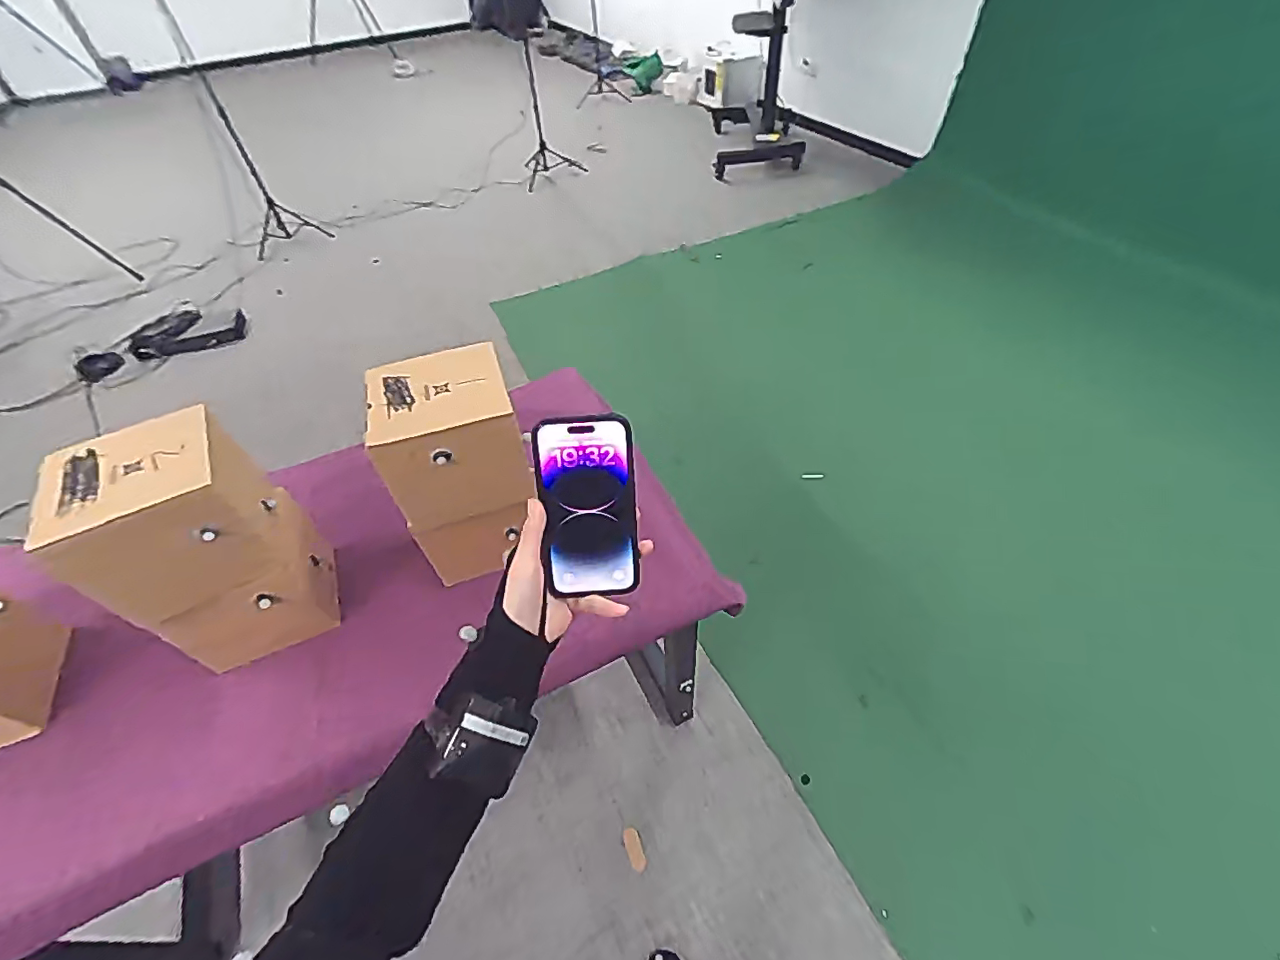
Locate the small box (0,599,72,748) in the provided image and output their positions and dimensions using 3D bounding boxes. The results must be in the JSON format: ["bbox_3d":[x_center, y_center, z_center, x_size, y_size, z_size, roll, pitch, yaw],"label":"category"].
[{"bbox_3d":[-0.937,0.271,0.727,0.168,0.176,0.179,-21,50,-14],"label":"small box"}]

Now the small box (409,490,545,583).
[{"bbox_3d":[-0.260,0.039,0.881,0.179,0.176,0.168,-17,49,-9],"label":"small box"}]

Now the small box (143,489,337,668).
[{"bbox_3d":[-0.575,0.148,0.807,0.179,0.176,0.168,-21,50,-14],"label":"small box"}]

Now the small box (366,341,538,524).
[{"bbox_3d":[-0.256,-0.062,0.752,0.179,0.176,0.168,-16,49,-11],"label":"small box"}]
